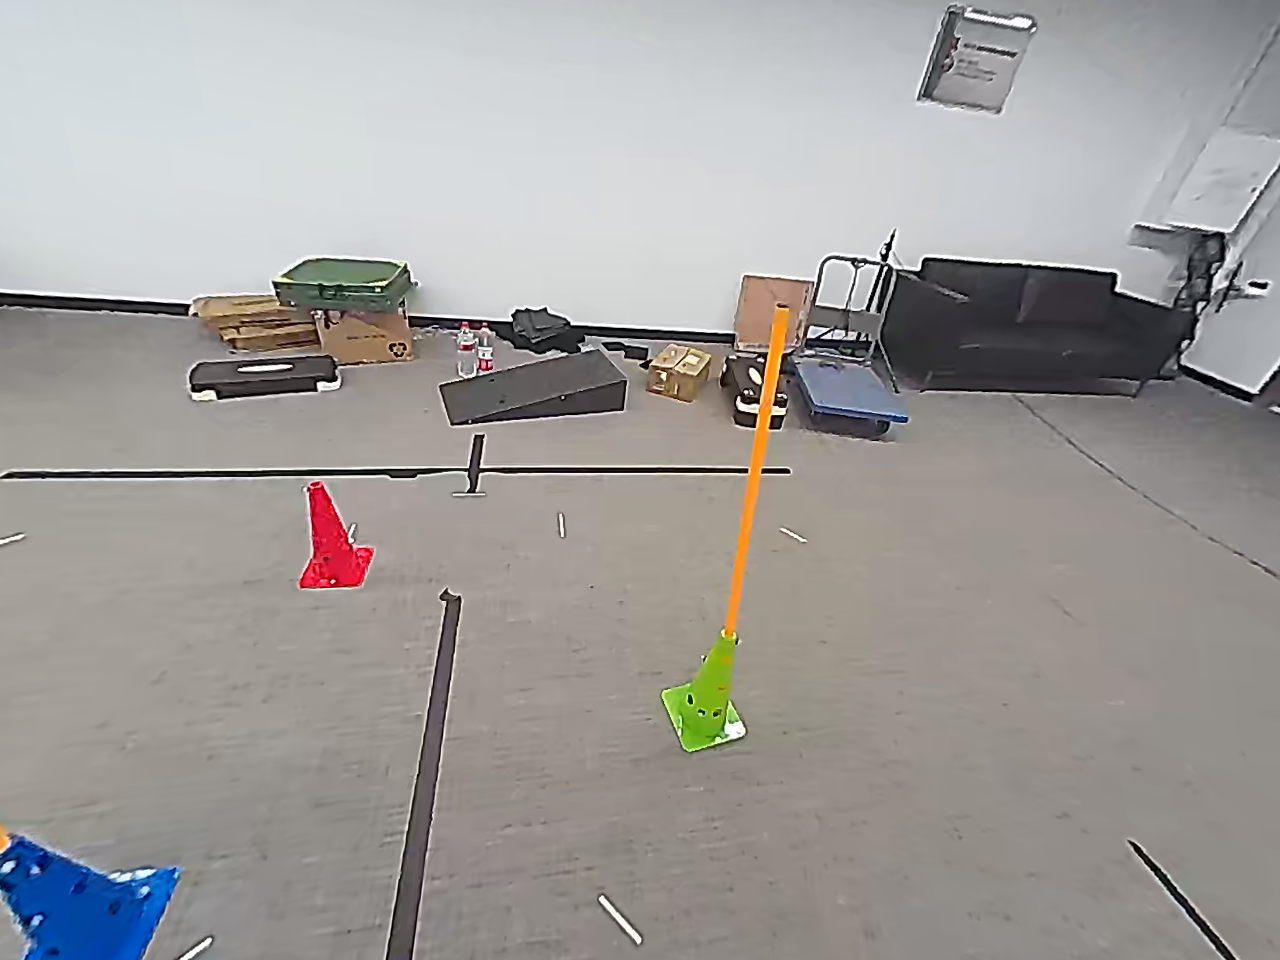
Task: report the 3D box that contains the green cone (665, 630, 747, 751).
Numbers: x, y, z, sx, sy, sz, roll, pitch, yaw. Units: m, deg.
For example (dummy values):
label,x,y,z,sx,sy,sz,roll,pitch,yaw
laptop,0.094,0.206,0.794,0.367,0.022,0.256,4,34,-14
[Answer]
label,x,y,z,sx,sy,sz,roll,pitch,yaw
green cone,0.211,0.544,1.494,0.200,0.368,0.202,-6,37,-20

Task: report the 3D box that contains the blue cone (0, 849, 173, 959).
label,x,y,z,sx,sy,sz,roll,pitch,yaw
blue cone,-1.026,0.741,0.951,0.193,0.380,0.192,2,34,-9
